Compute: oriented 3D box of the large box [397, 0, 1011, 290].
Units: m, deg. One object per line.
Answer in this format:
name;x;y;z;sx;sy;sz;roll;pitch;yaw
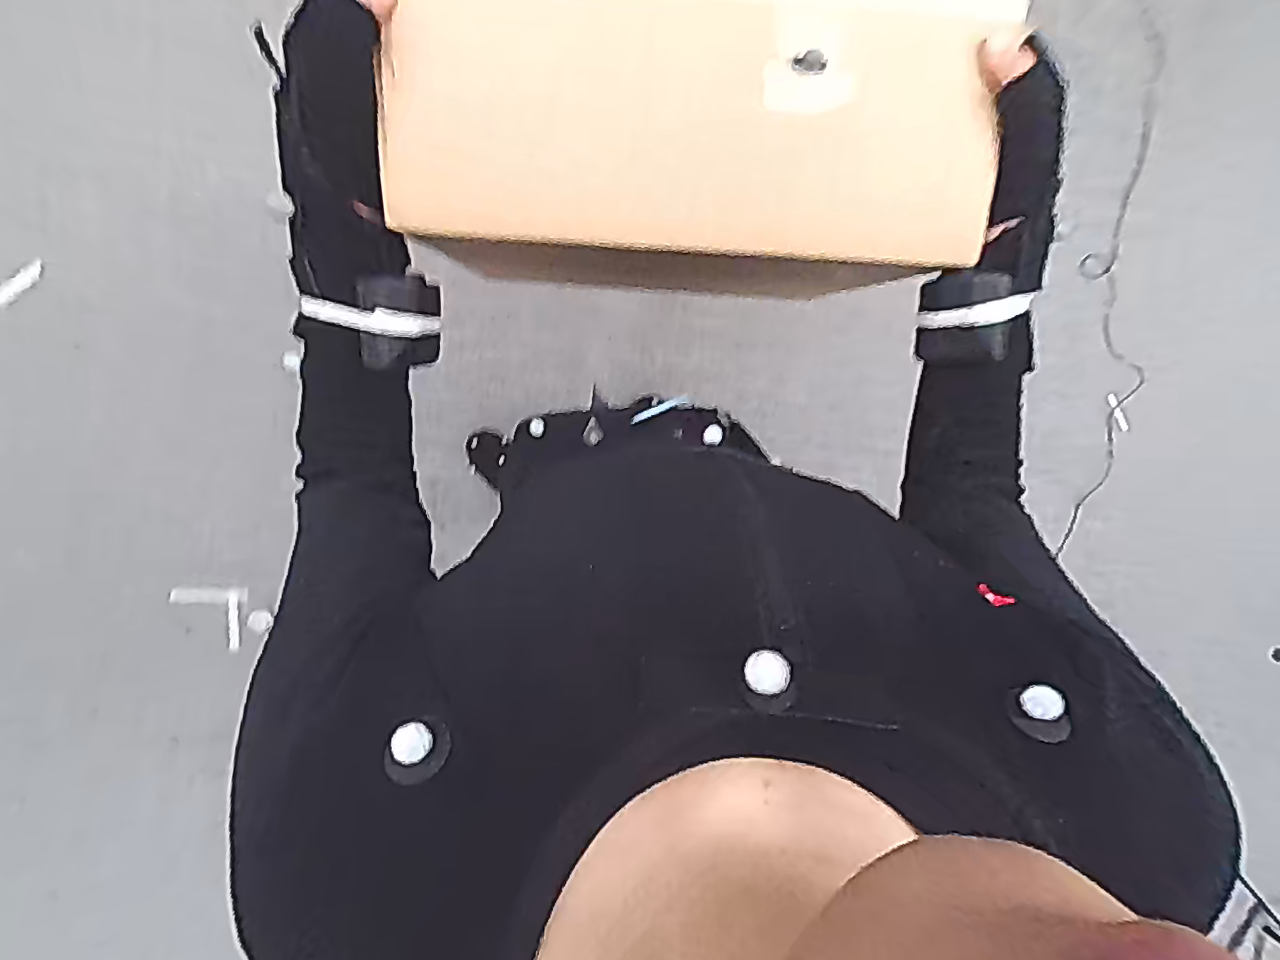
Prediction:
large box;0.034;-0.353;0.486;0.408;0.320;0.320;2;105;-6
